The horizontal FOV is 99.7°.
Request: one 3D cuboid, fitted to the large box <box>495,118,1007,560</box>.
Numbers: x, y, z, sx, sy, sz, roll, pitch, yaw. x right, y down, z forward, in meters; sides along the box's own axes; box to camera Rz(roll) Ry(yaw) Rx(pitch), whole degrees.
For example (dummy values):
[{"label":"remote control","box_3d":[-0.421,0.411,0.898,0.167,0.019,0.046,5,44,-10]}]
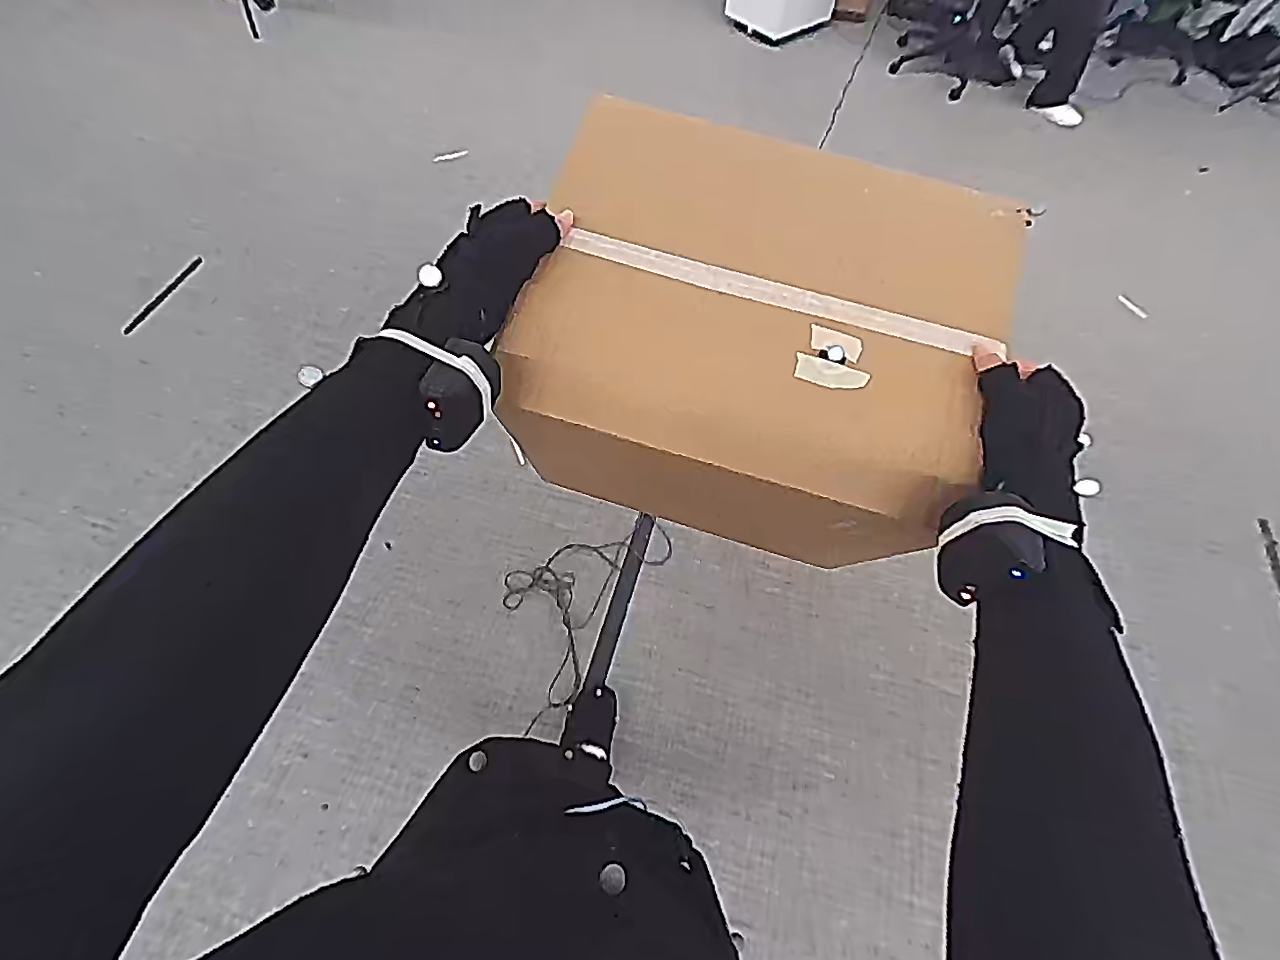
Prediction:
[{"label":"large box","box_3d":[0.104,-0.121,0.620,0.408,0.320,0.320,17,78,3]}]
